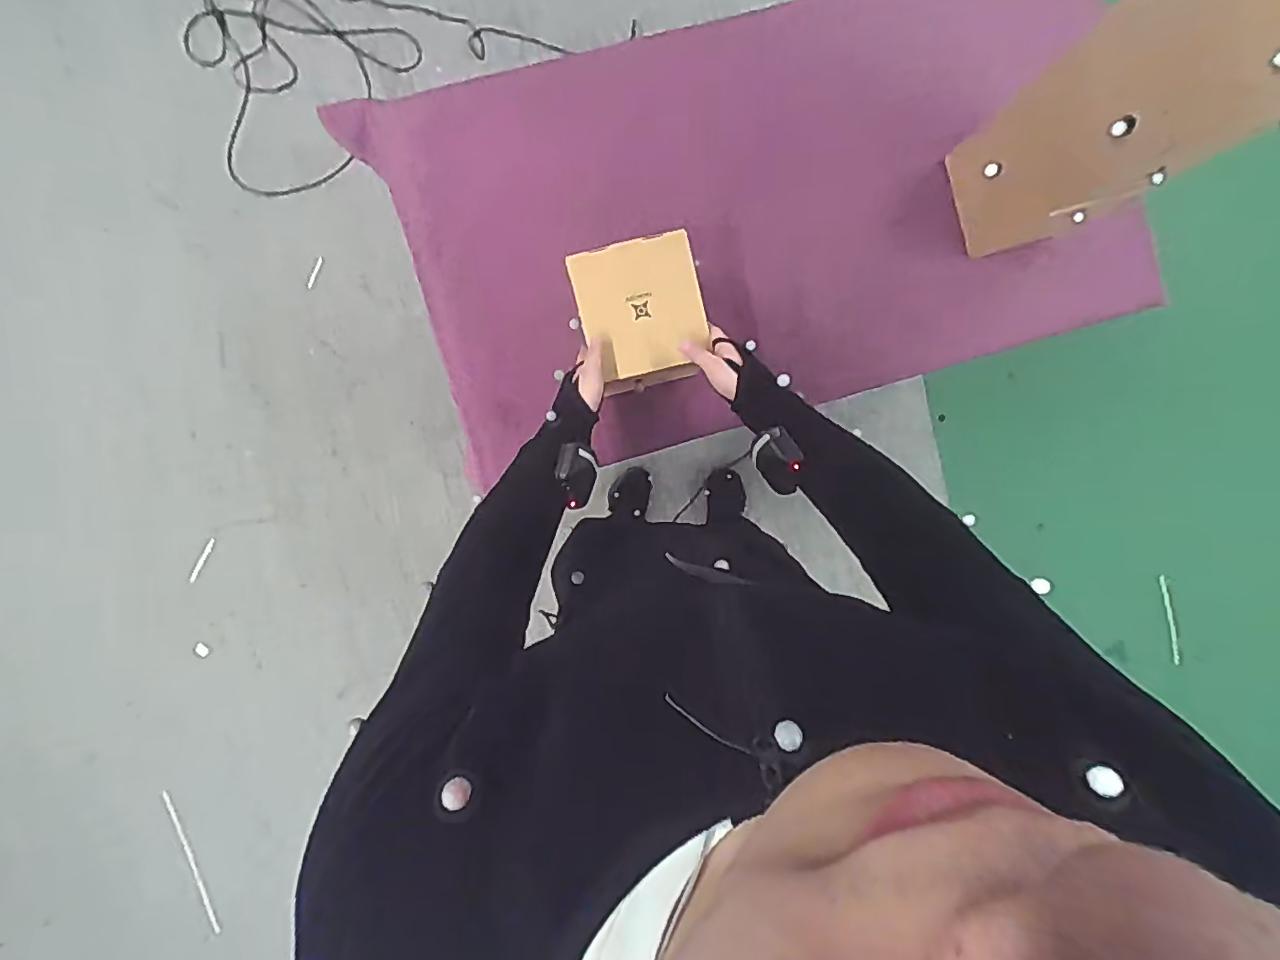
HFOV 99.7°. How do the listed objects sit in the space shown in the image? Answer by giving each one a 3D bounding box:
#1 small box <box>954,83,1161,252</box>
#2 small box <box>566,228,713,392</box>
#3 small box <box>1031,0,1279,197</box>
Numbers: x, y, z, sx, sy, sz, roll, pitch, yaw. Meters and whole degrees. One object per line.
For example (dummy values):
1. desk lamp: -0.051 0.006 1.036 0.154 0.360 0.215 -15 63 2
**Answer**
1. small box: 0.614 -0.477 0.818 0.168 0.176 0.179 -17 93 -1
2. small box: 0.002 -0.232 0.790 0.168 0.176 0.179 -14 92 0
3. small box: 0.622 -0.470 0.652 0.168 0.176 0.179 -16 94 -3
